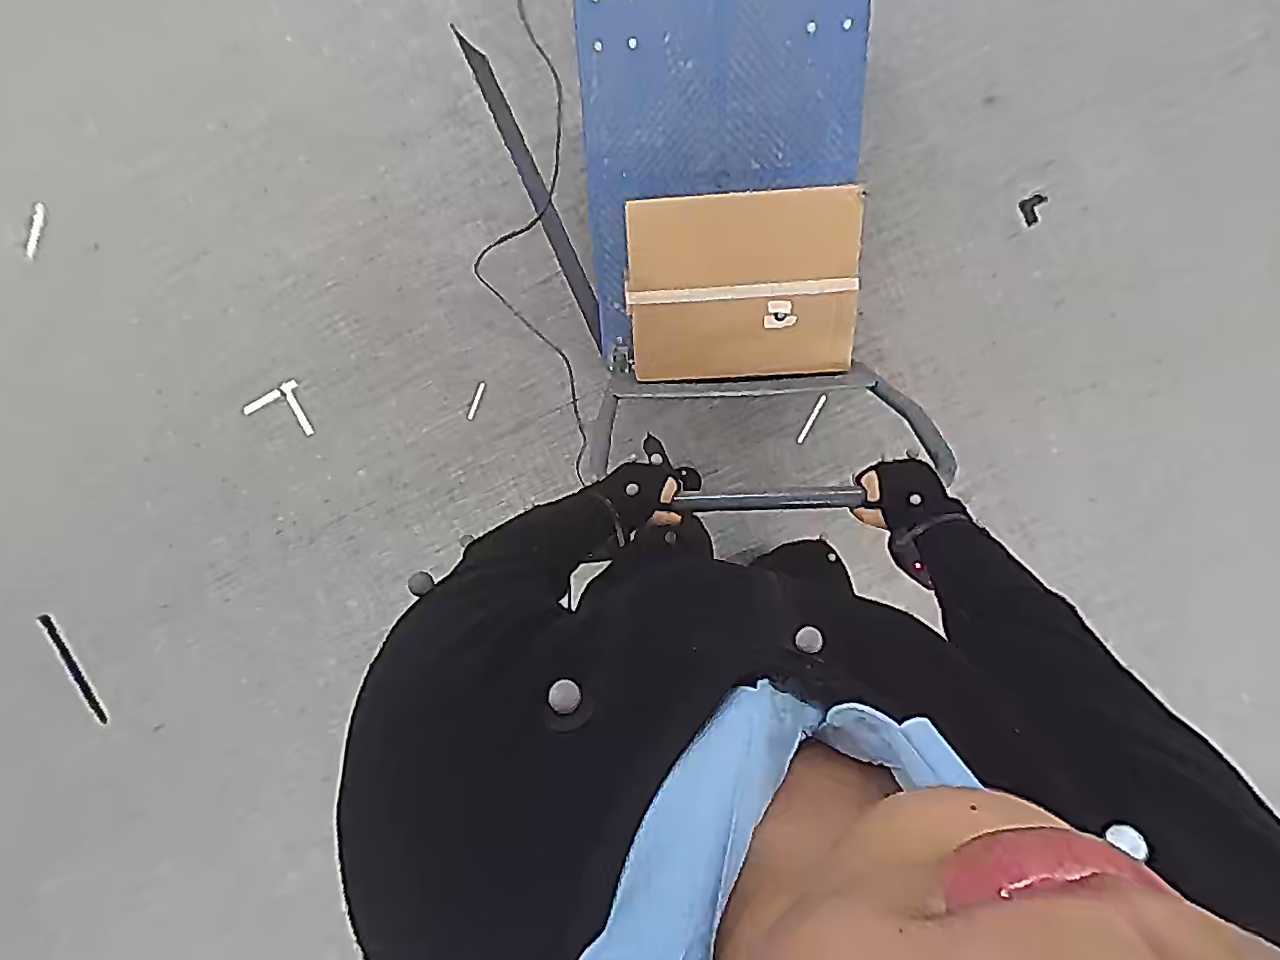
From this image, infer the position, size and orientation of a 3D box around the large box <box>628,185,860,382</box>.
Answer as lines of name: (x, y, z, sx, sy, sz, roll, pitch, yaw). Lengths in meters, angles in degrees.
large box: (0.192, -0.400, 1.121, 0.408, 0.320, 0.320, -4, 113, 3)
